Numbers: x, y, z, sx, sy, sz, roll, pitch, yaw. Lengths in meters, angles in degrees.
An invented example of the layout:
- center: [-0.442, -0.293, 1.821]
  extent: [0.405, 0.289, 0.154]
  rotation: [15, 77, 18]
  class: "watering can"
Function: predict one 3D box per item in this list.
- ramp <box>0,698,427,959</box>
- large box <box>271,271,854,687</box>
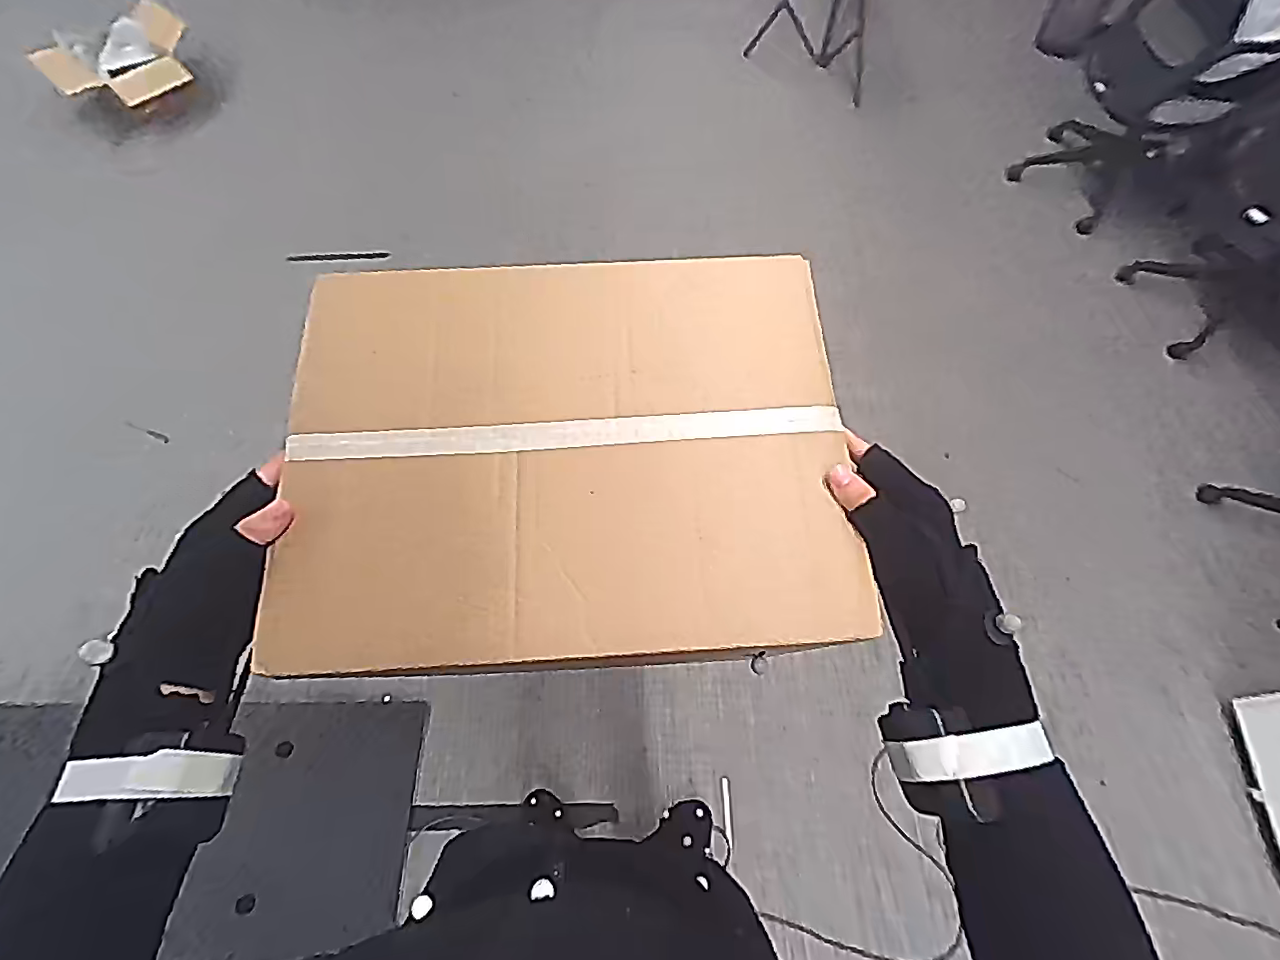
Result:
- center: [-1.015, 0.731, 1.161]
  extent: [0.991, 0.206, 0.509]
  rotation: [-2, 61, -1]
  class: "ramp"
- center: [-0.060, 0.026, 0.553]
  extent: [0.408, 0.320, 0.320]
  rotation: [-4, 70, -2]
  class: "large box"
